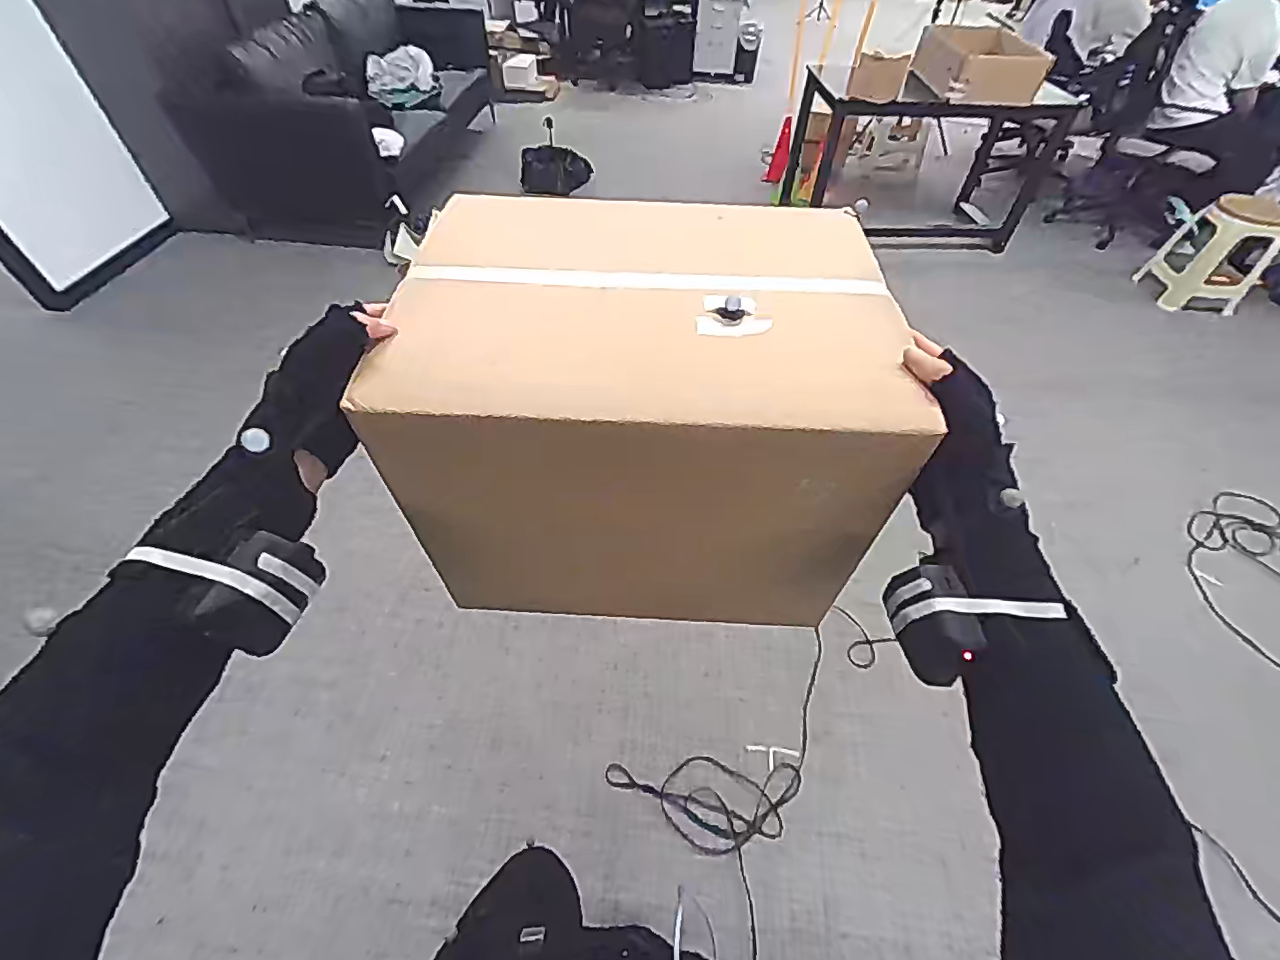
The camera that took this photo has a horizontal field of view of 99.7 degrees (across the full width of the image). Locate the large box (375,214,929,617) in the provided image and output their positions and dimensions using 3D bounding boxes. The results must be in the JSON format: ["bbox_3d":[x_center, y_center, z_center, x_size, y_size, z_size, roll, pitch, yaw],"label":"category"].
[{"bbox_3d":[0.007,-0.060,0.588,0.408,0.320,0.320,3,52,0],"label":"large box"}]
